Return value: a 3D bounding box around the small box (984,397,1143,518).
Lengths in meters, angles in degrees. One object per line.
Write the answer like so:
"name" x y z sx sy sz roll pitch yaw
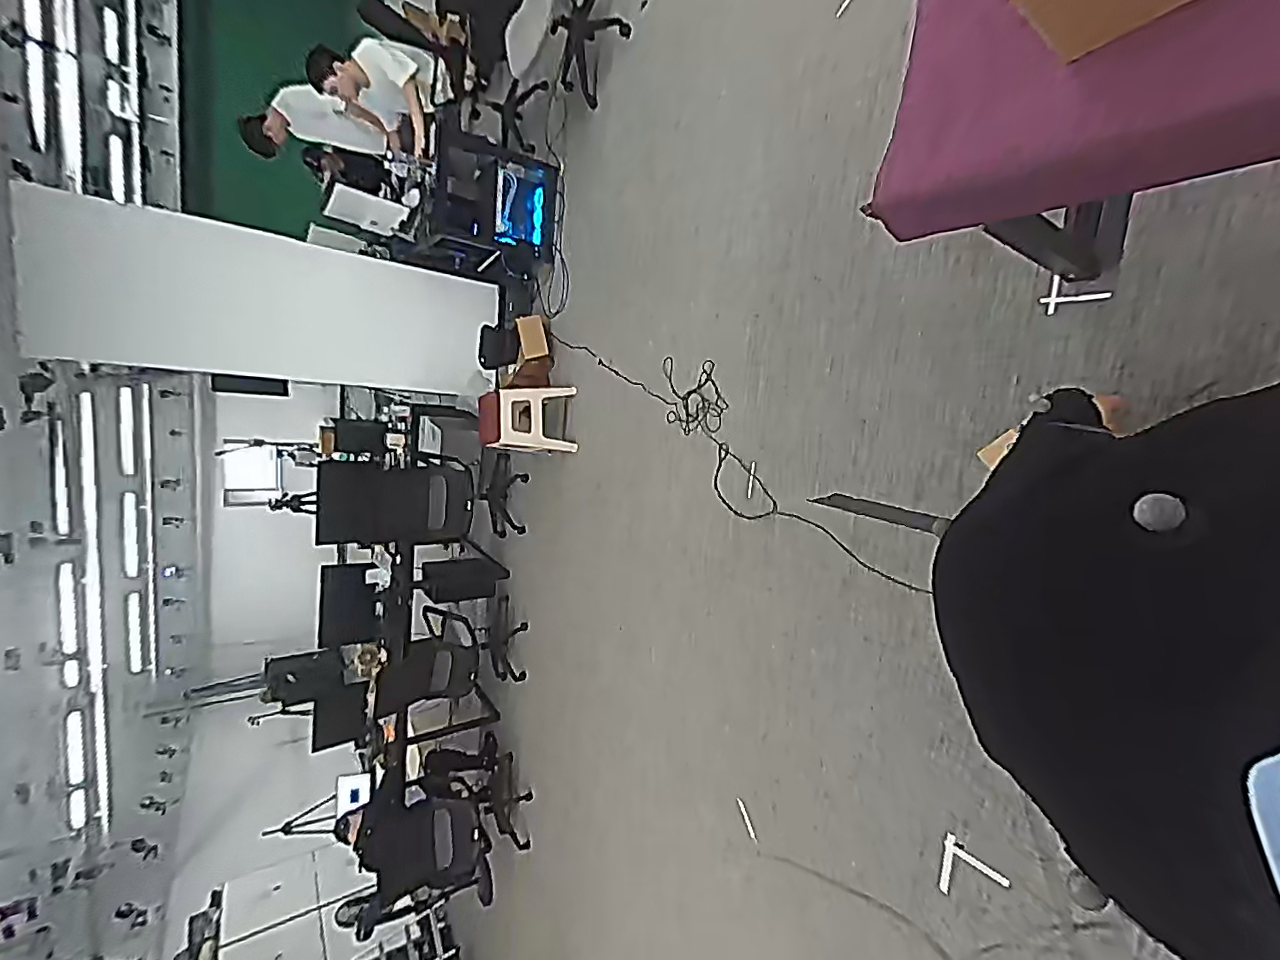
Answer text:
"small box" 0.841 -0.042 1.071 0.179 0.176 0.168 -51 50 41
